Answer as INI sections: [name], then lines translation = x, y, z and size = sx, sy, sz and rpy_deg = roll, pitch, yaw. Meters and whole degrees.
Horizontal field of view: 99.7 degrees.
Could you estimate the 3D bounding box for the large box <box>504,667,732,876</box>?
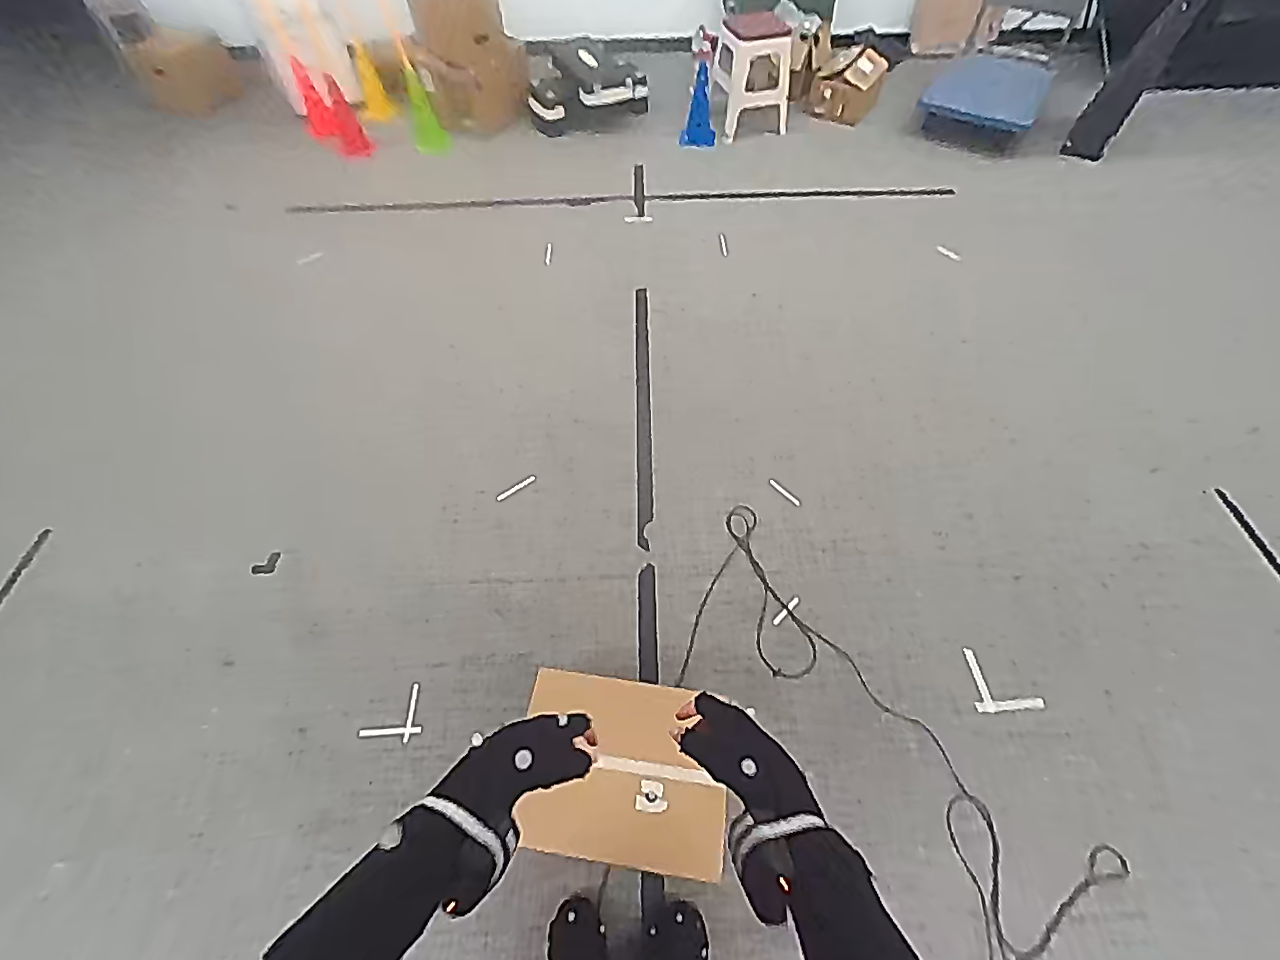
[large box]
translation = -0.029, 0.624, 1.152
size = 0.408, 0.320, 0.320
rpy_deg = 7, 54, 5
